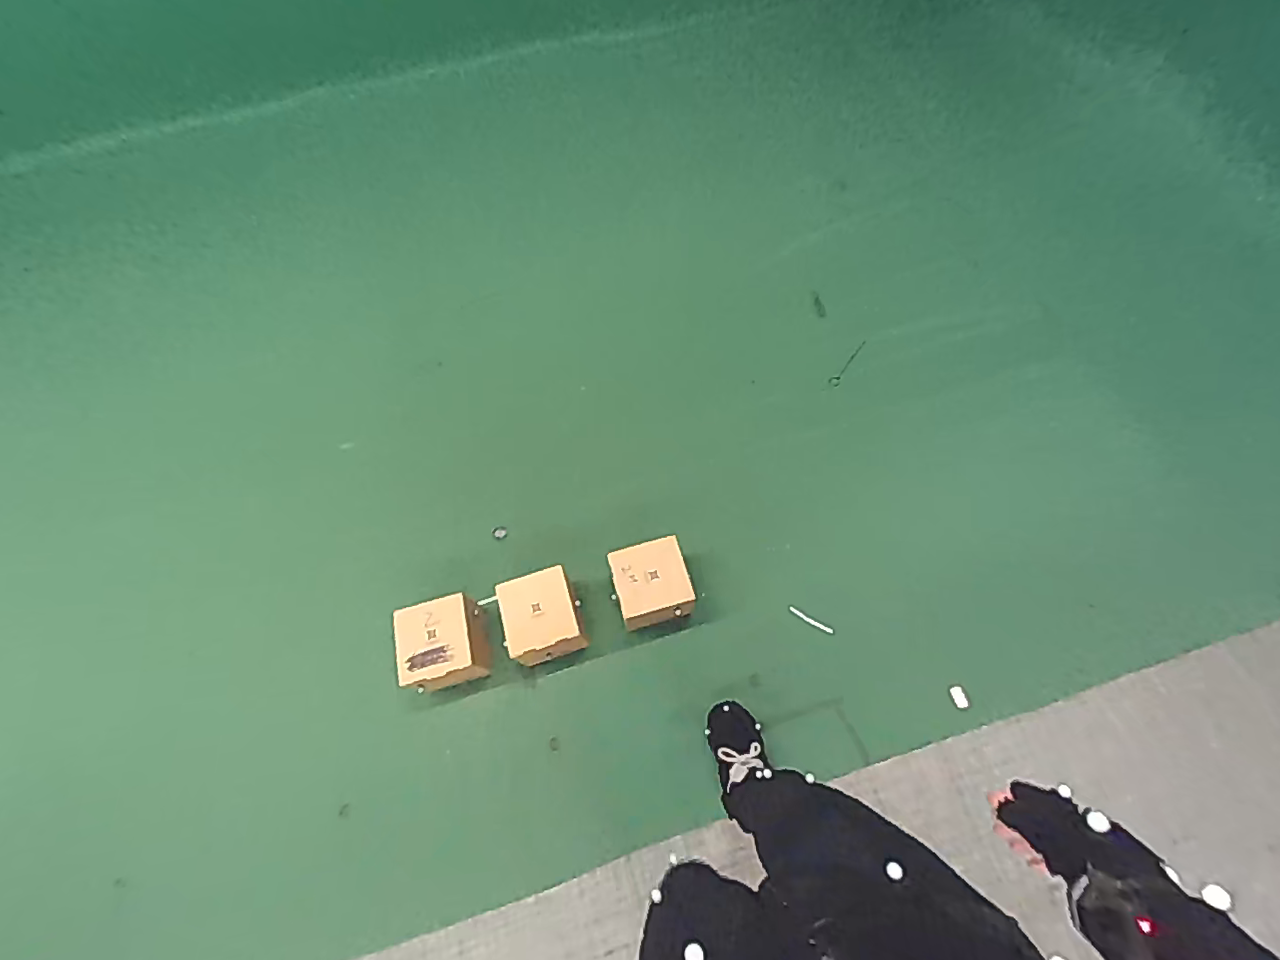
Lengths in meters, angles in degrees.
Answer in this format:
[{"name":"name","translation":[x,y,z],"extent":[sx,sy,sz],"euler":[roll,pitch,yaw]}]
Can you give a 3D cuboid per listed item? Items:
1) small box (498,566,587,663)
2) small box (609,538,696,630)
[{"name":"small box","translation":[-0.237,0.335,1.329],"extent":[0.168,0.176,0.179],"euler":[-17,67,-6]},{"name":"small box","translation":[0.028,0.263,1.351],"extent":[0.179,0.176,0.168],"euler":[-14,65,-5]}]
